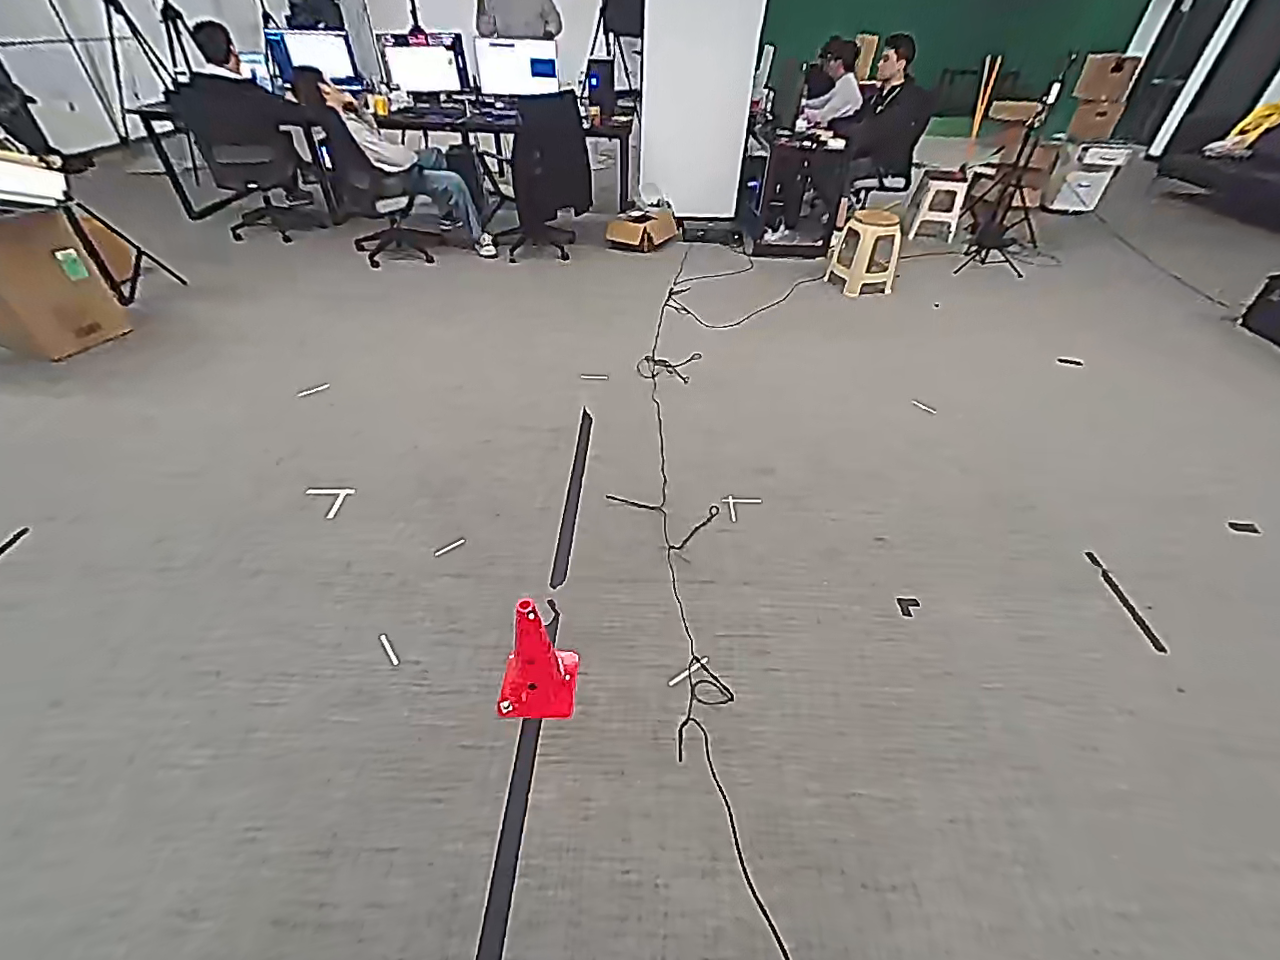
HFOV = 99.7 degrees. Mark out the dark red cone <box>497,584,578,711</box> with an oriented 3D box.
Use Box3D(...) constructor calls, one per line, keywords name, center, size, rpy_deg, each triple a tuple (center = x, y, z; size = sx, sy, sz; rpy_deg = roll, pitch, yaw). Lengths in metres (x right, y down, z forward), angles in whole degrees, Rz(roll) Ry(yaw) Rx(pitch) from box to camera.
Box3D(name="dark red cone", center=(-0.265, 0.402, 1.357), size=(0.201, 0.394, 0.202), rpy_deg=(3, 40, -1))
